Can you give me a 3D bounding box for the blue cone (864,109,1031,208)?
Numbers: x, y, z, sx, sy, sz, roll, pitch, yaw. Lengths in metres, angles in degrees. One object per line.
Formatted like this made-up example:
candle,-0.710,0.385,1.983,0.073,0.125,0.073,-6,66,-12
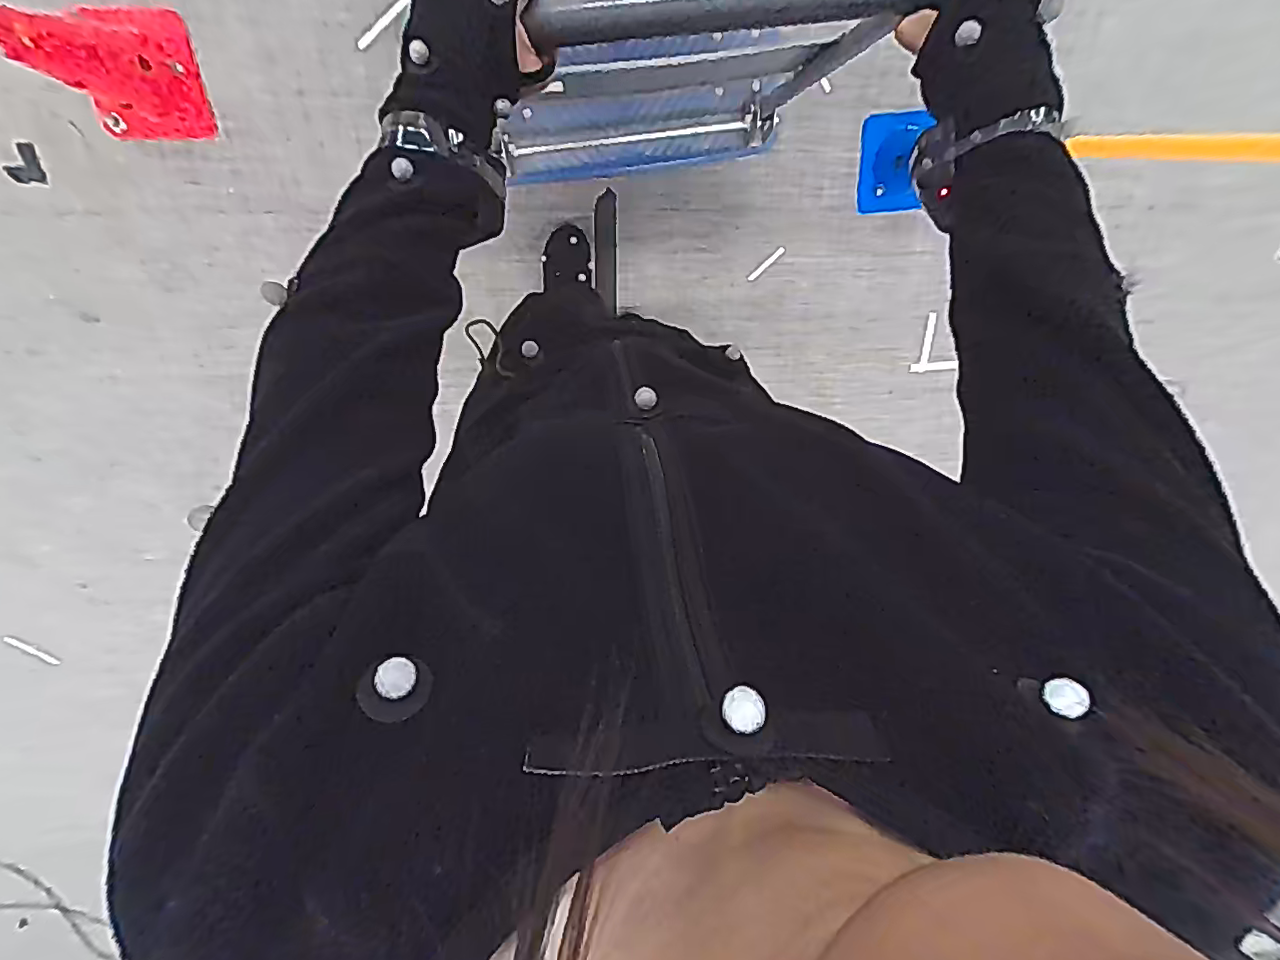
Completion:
blue cone,0.627,-0.663,1.090,0.193,0.380,0.192,-7,116,-5
